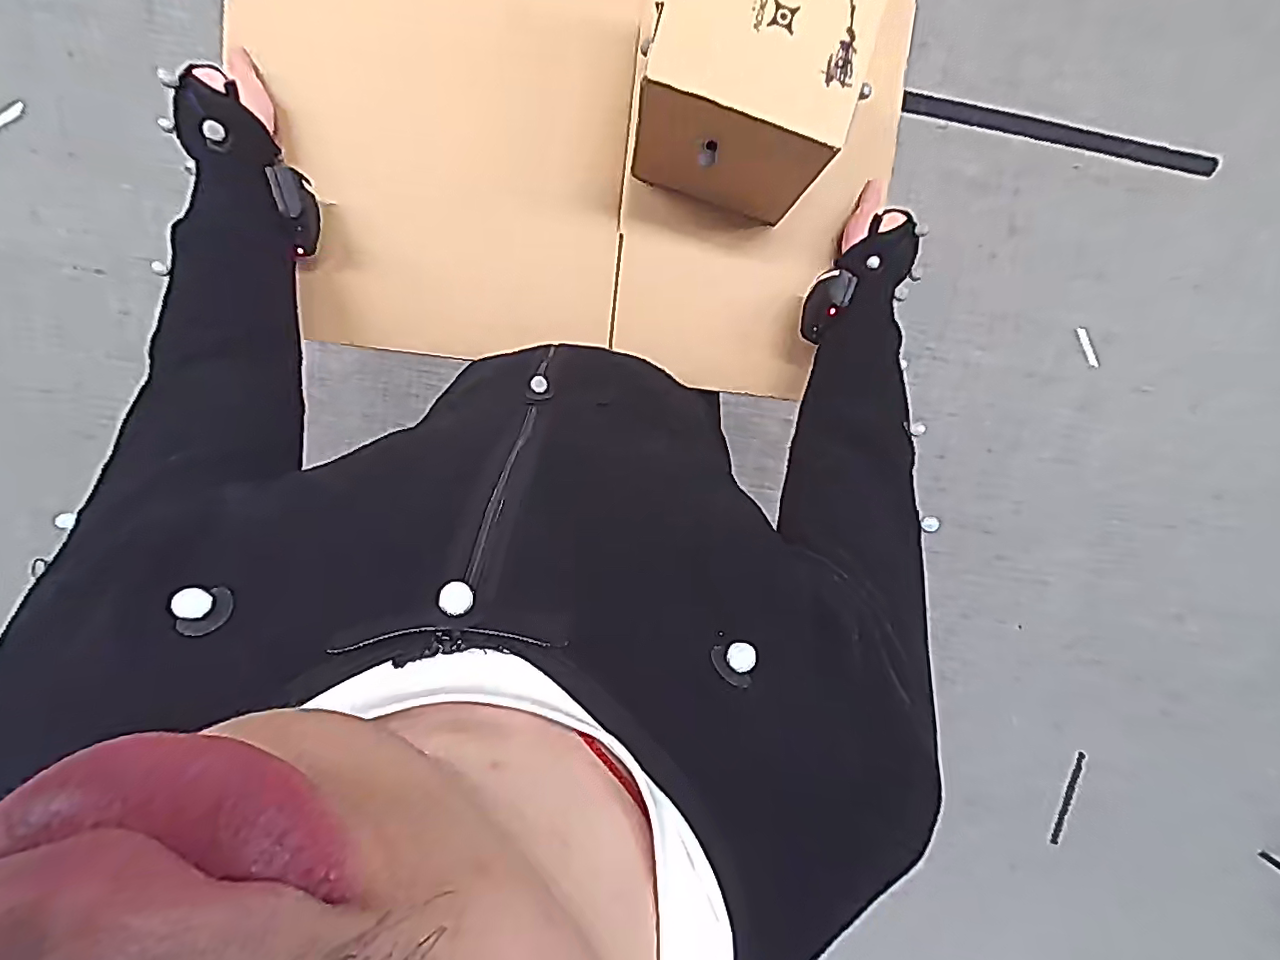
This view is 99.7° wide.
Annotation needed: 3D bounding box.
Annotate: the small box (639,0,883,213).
[{"bbox_3d":[0.103,-0.388,0.521,0.179,0.176,0.168,16,94,-5],"label":"small box"}]
